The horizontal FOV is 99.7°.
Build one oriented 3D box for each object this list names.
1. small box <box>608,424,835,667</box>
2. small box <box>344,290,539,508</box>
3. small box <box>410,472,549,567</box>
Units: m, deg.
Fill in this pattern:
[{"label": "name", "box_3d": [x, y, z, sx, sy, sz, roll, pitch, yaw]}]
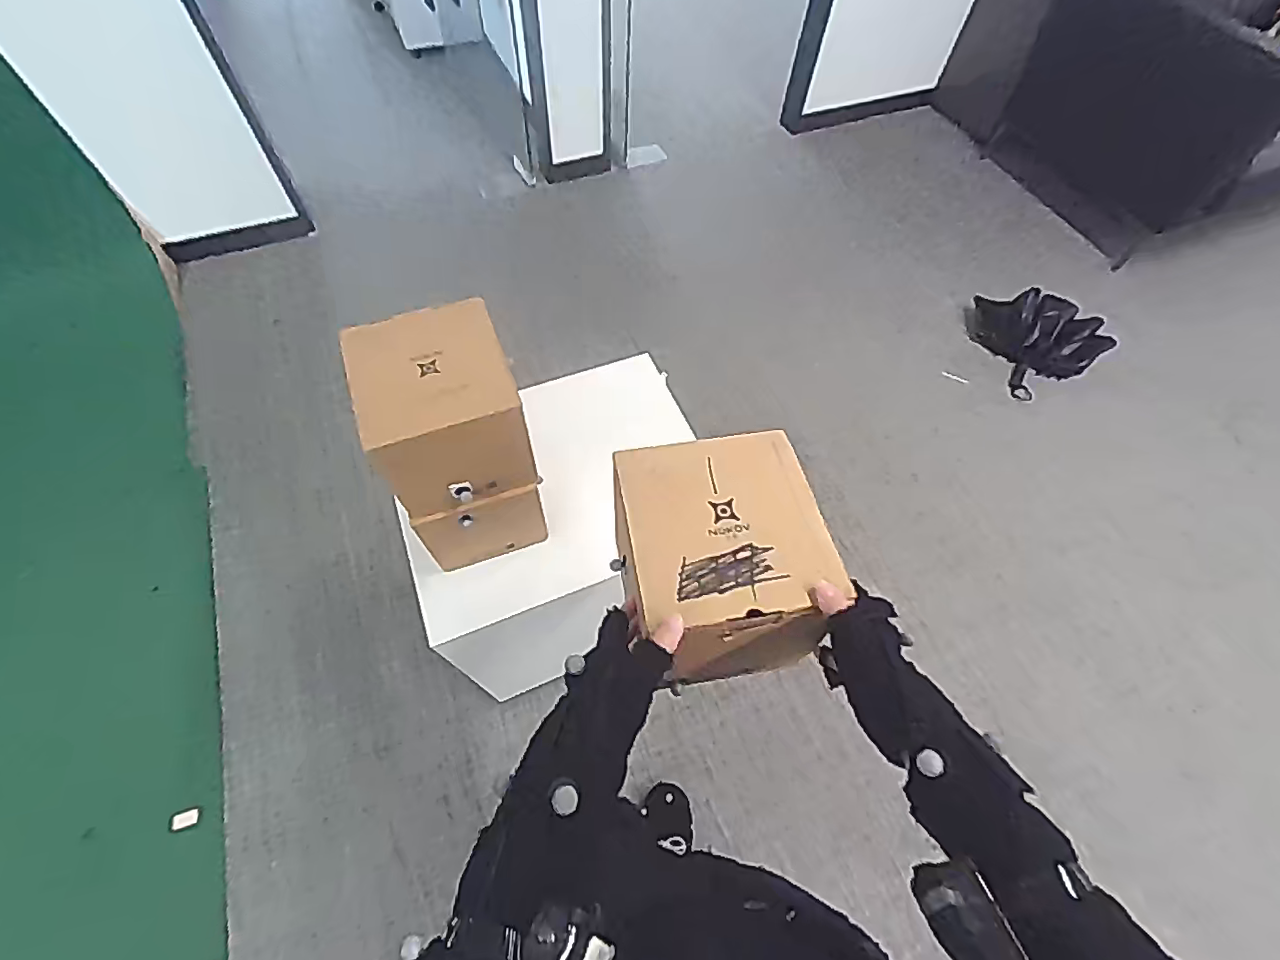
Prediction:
[{"label": "small box", "box_3d": [0.063, 0.071, 0.532, 0.168, 0.176, 0.179, -7, 54, -7]}, {"label": "small box", "box_3d": [-0.231, -0.094, 0.658, 0.168, 0.176, 0.179, -19, 64, -13]}, {"label": "small box", "box_3d": [-0.241, 0.003, 0.809, 0.168, 0.176, 0.179, -17, 61, -12]}]
